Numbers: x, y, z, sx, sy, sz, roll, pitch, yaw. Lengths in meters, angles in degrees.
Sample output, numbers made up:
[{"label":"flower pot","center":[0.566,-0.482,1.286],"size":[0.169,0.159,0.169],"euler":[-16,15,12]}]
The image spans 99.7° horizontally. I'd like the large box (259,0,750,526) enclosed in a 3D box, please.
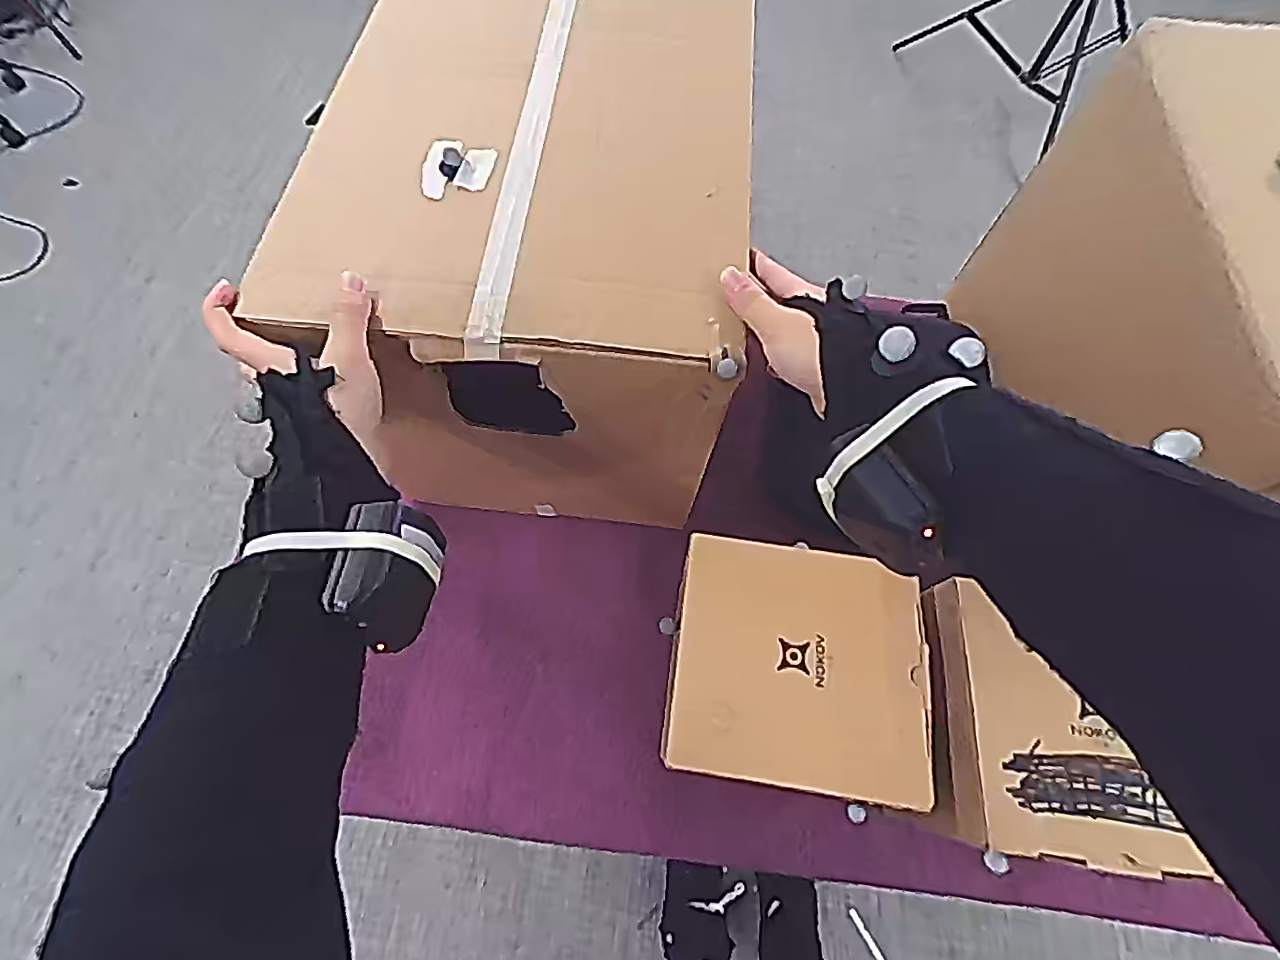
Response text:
[{"label":"large box","center":[-0.077,-0.198,0.543],"size":[0.320,0.320,0.408],"euler":[5,68,1]}]
